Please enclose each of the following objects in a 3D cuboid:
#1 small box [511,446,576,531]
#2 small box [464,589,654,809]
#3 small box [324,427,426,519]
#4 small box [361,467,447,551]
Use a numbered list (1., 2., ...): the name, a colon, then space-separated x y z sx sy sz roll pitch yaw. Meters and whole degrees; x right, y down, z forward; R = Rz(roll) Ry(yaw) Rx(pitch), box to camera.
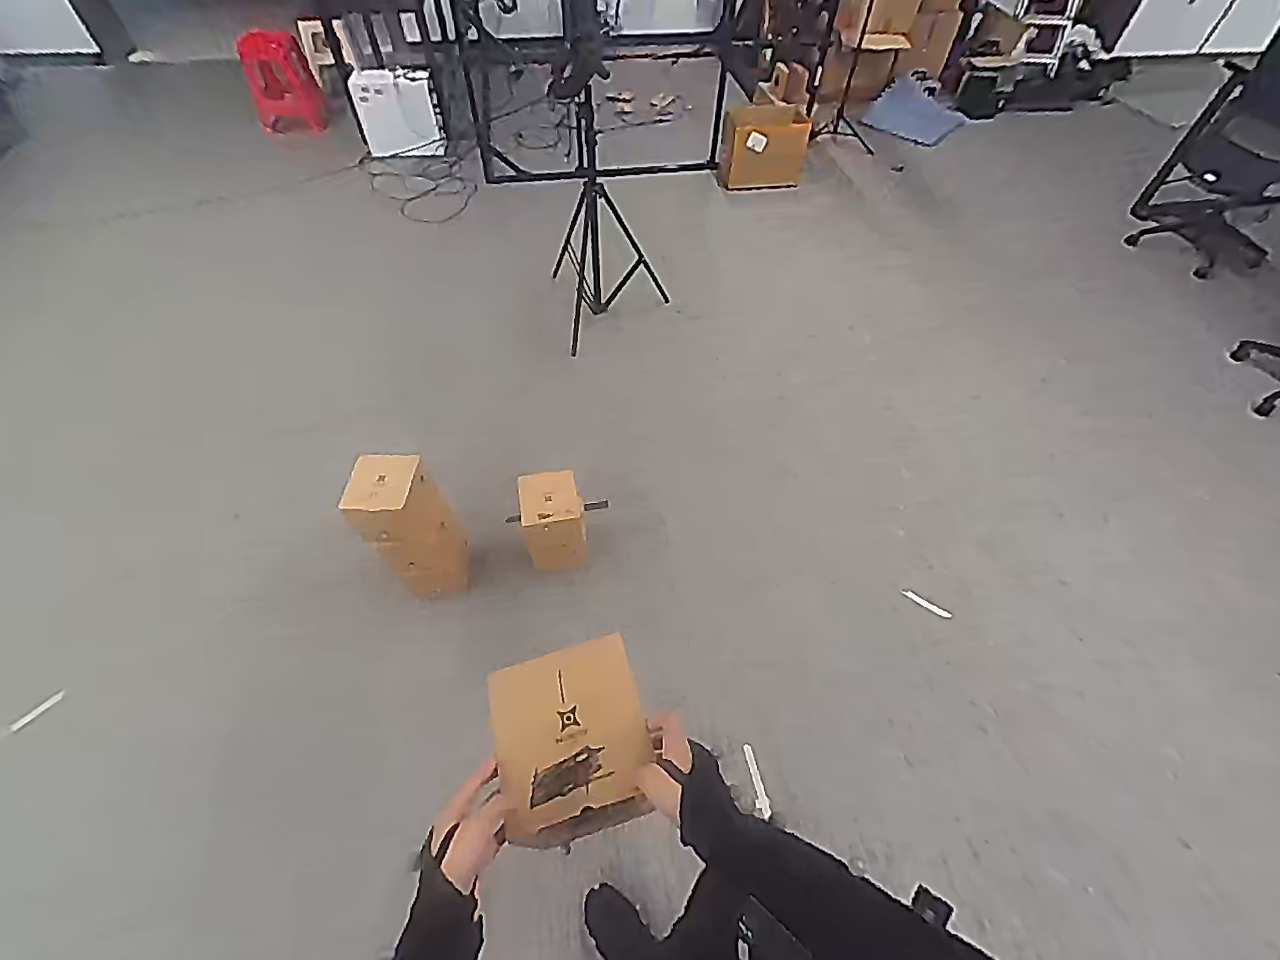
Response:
1. small box: -0.281 0.027 1.583 0.168 0.176 0.179 -8 54 -7
2. small box: -0.086 0.257 0.621 0.168 0.176 0.179 -16 54 -7
3. small box: -0.677 -0.017 1.405 0.168 0.176 0.179 1 55 1
4. small box: -0.660 0.084 1.535 0.168 0.176 0.179 -4 55 -3
